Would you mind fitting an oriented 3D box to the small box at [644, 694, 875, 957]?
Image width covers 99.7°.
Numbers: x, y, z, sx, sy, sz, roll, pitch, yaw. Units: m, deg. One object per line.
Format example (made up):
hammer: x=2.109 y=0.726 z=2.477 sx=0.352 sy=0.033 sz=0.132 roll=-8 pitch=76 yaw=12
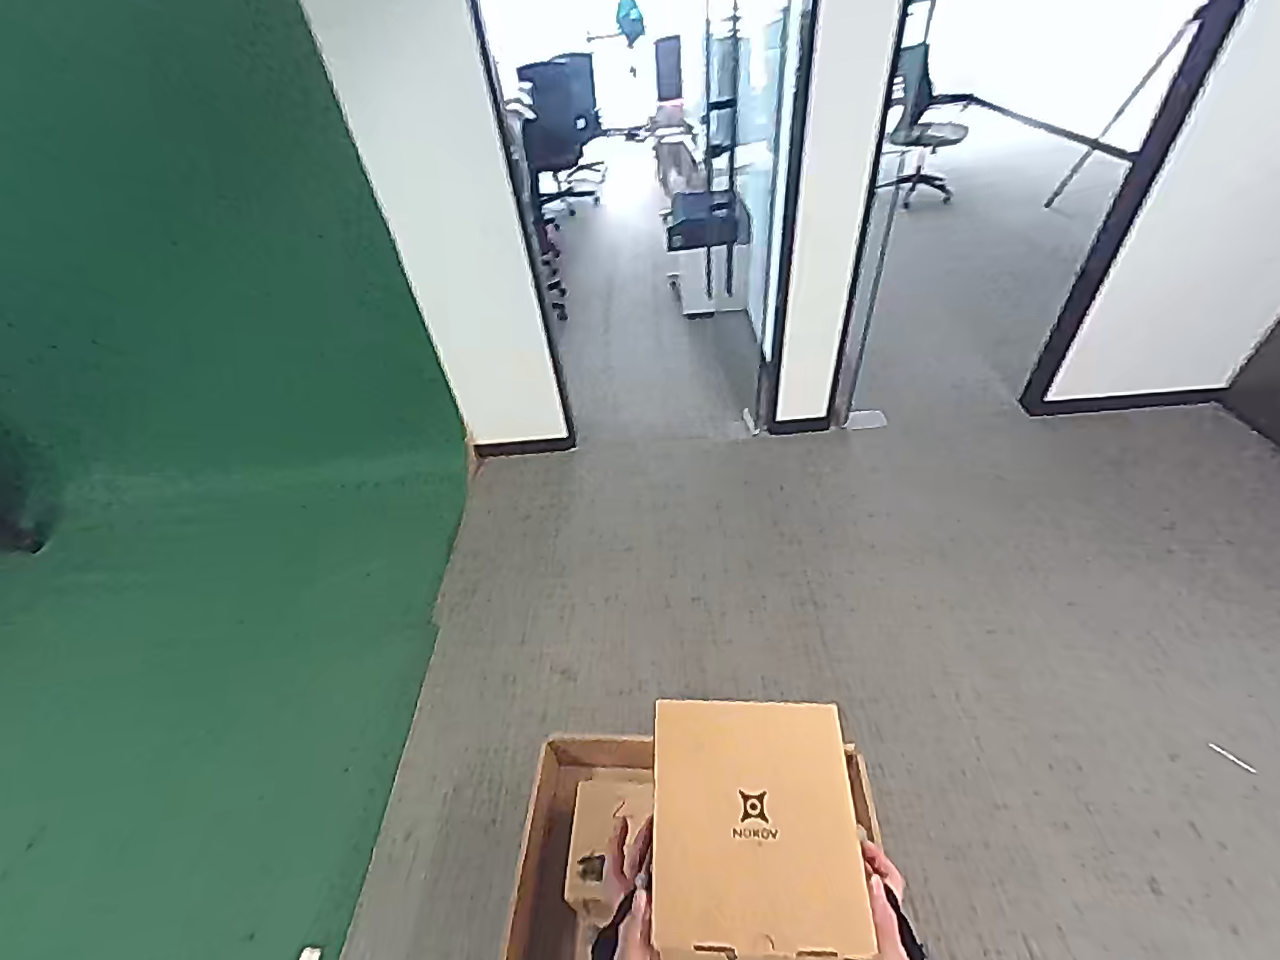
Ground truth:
small box: x=0.088 y=0.310 z=0.496 sx=0.168 sy=0.176 sz=0.179 roll=0 pitch=55 yaw=2
